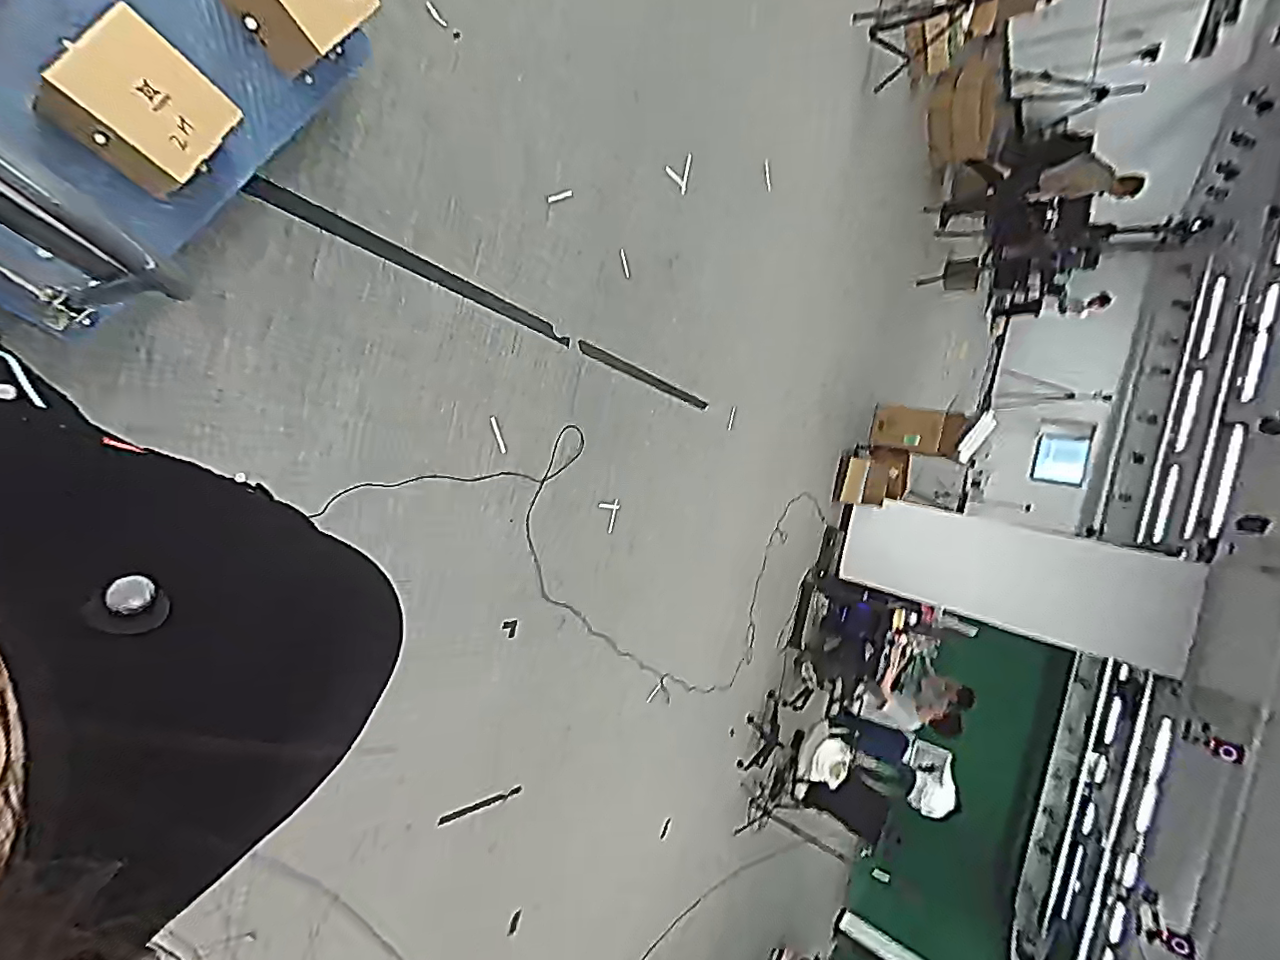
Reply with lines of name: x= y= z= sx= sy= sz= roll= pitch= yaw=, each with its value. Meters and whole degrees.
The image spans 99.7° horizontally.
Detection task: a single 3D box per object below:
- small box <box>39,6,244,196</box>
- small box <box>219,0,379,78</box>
small box: x=-0.800 y=-0.590 z=0.868 sx=0.179 sy=0.176 sz=0.168 roll=44 pitch=66 yaw=-49
small box: x=-0.634 y=-0.891 z=0.995 sx=0.179 sy=0.176 sz=0.168 roll=-61 pitch=140 yaw=-19
